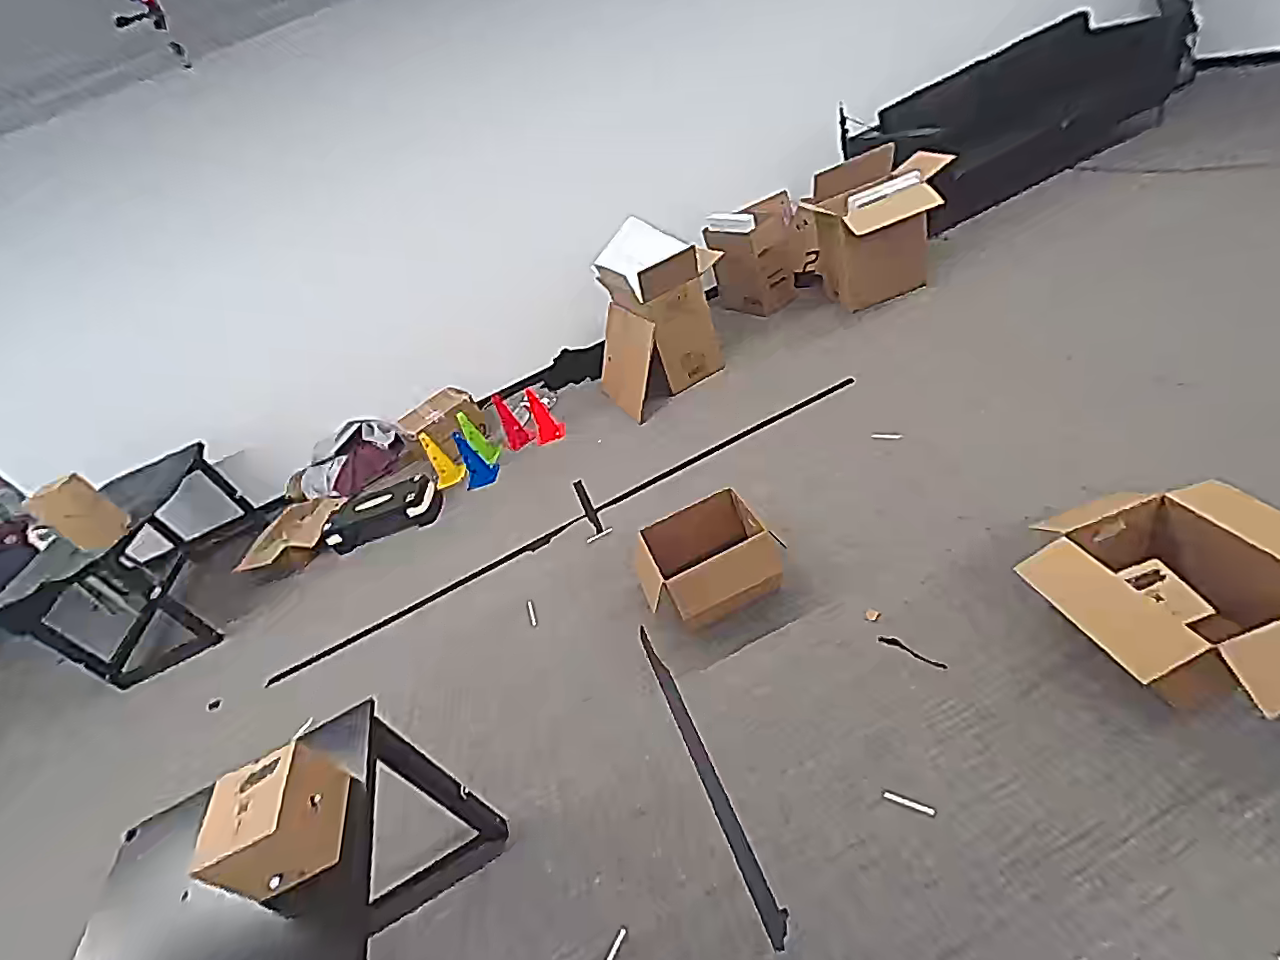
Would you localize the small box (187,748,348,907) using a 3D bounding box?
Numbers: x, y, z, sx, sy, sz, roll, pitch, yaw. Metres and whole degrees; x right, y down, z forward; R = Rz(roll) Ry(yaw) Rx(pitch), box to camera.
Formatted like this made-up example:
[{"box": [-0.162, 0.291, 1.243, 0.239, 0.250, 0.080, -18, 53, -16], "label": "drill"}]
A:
[{"box": [-0.685, 0.656, 1.022, 0.168, 0.176, 0.179, -27, 37, -3], "label": "small box"}]
